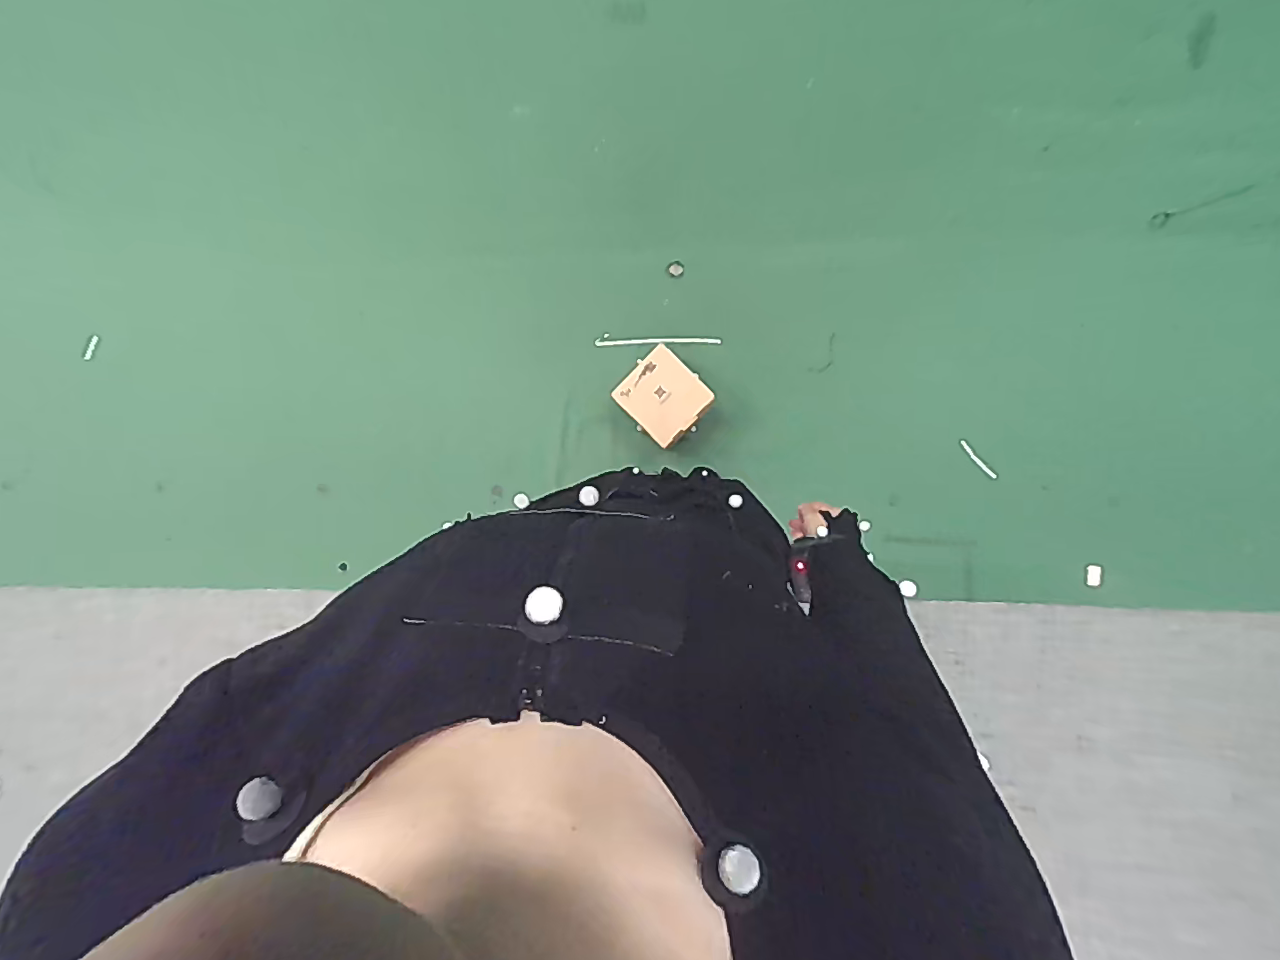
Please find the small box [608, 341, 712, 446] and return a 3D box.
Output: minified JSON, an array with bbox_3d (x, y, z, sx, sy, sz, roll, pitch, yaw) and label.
[{"bbox_3d":[0.052,-0.197,1.278,0.168,0.176,0.179,-45,88,6],"label":"small box"}]
